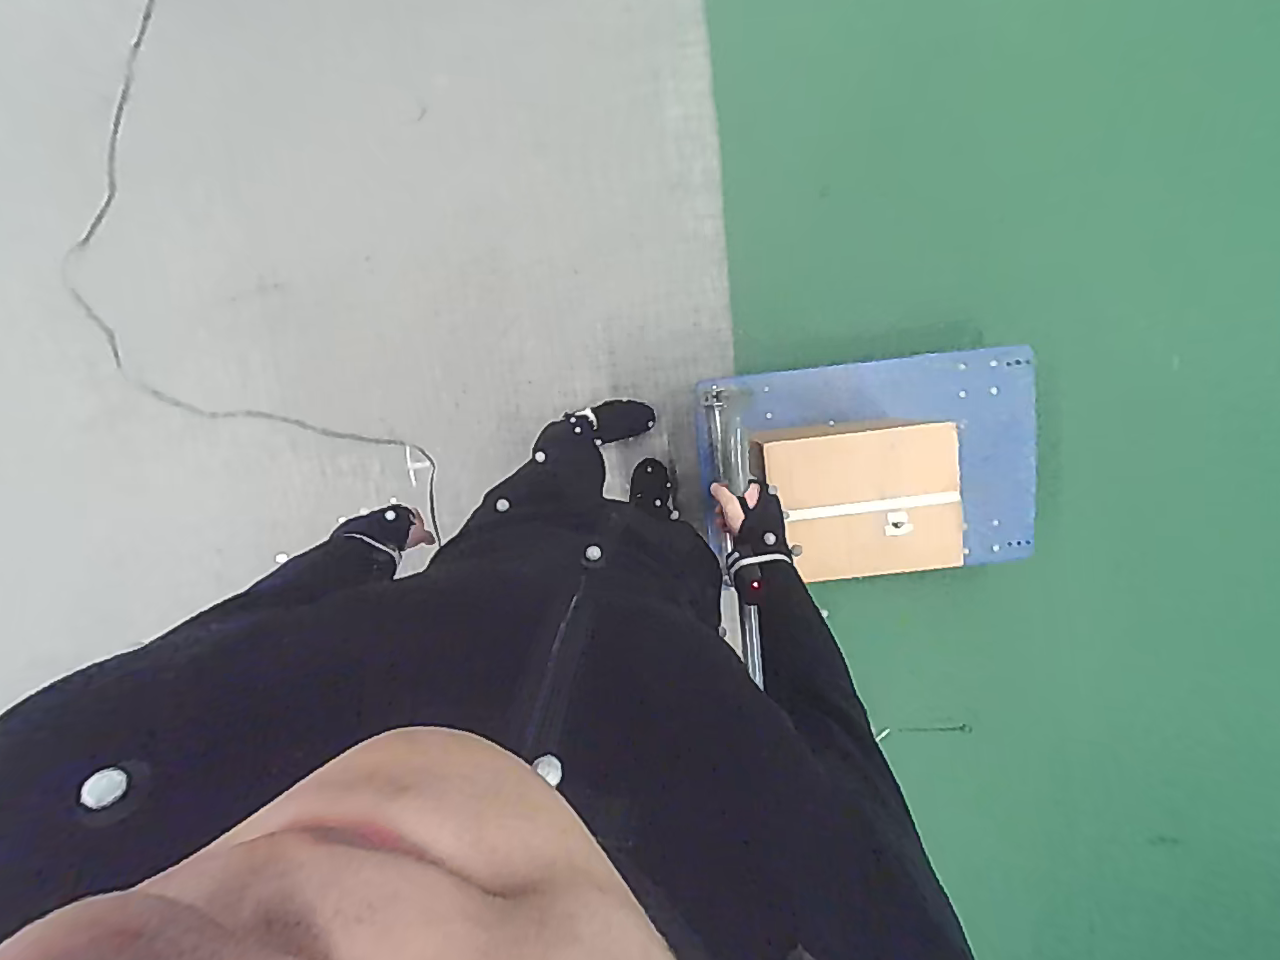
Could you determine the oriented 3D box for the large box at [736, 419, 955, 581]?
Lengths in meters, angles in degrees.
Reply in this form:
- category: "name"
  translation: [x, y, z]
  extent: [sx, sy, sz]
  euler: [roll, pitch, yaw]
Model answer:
- category: "large box"
  translation: [0.465, 0.029, 1.296]
  extent: [0.408, 0.320, 0.320]
  euler: [-6, 98, 1]
